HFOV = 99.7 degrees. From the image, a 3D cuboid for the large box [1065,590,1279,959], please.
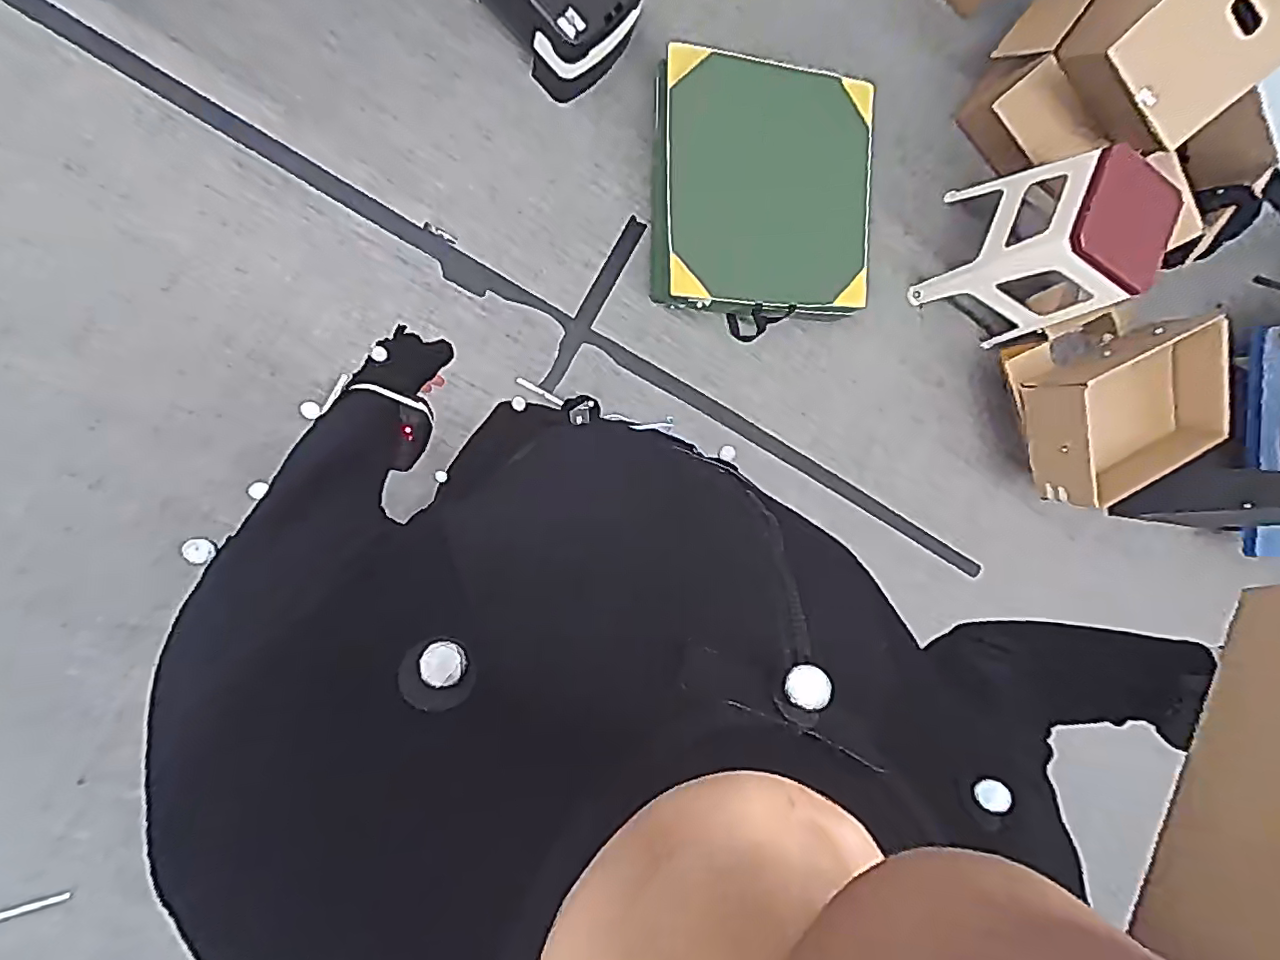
[{"bbox_3d":[0.426,0.254,0.167,0.408,0.320,0.320,-29,89,-28],"label":"large box"}]
